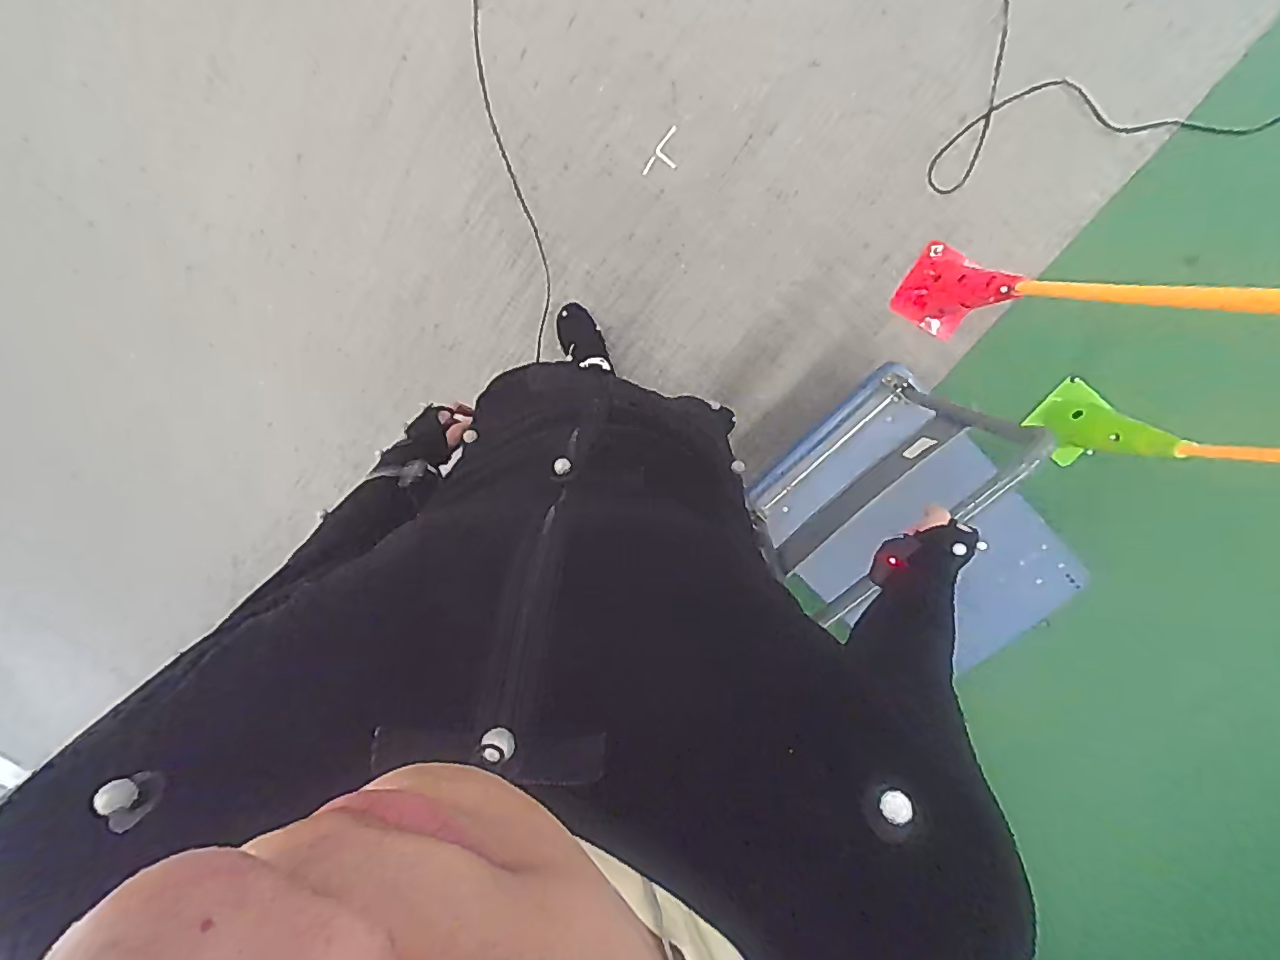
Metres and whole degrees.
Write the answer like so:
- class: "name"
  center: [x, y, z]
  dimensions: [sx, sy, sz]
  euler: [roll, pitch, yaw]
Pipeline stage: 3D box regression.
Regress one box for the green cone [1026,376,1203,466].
- class: "green cone"
  center: [1.214, -0.112, 1.357]
  dimensions: [0.202, 0.368, 0.200]
  euler: [36, 105, -10]
